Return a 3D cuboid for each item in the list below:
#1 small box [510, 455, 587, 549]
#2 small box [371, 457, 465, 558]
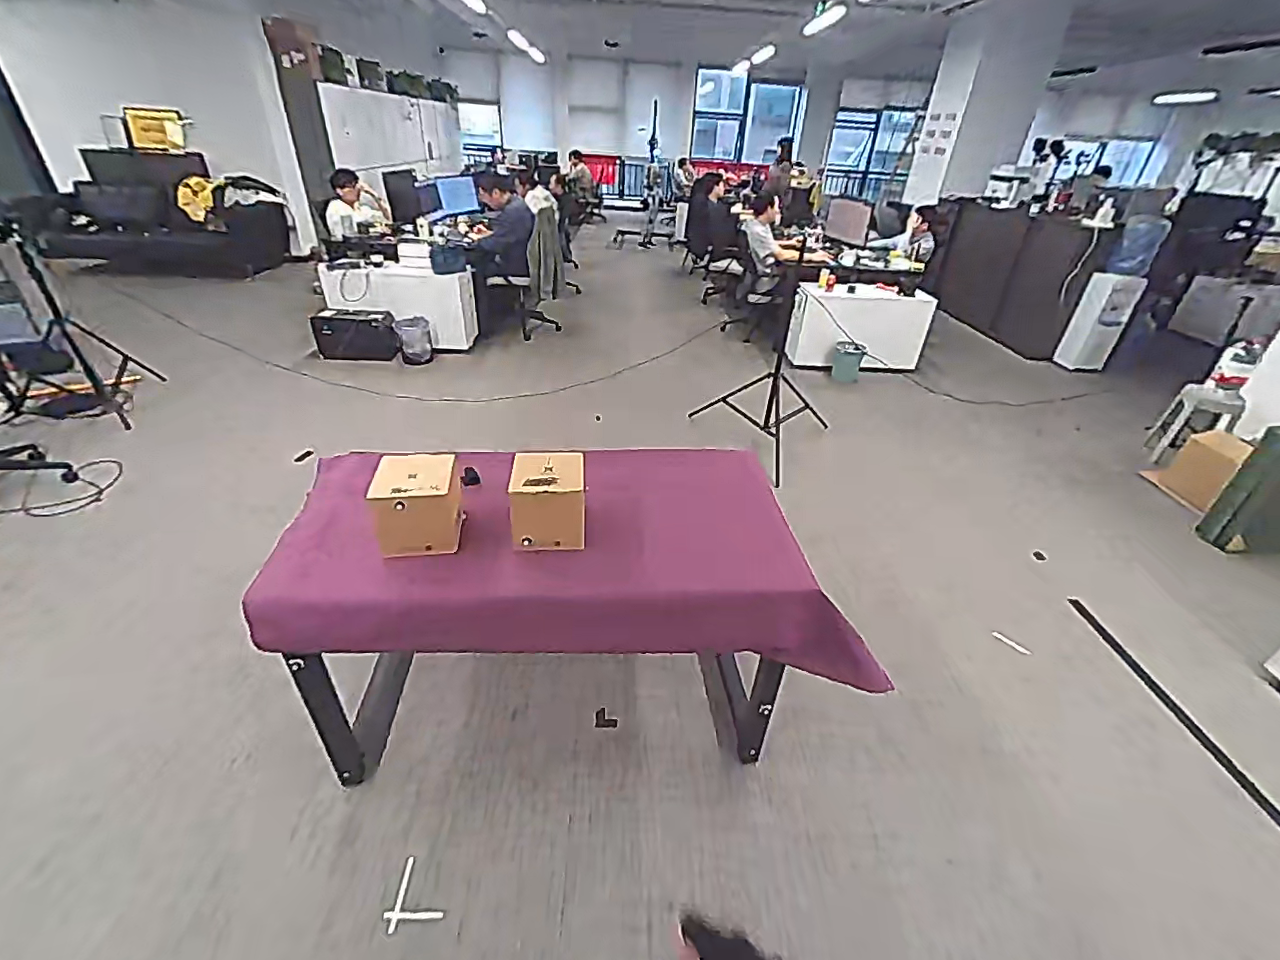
[{"bbox_3d":[-0.213,0.053,1.299,0.168,0.176,0.179,0,31,-6],"label":"small box"},{"bbox_3d":[-0.505,0.060,1.258,0.168,0.176,0.179,-3,32,-10],"label":"small box"}]
